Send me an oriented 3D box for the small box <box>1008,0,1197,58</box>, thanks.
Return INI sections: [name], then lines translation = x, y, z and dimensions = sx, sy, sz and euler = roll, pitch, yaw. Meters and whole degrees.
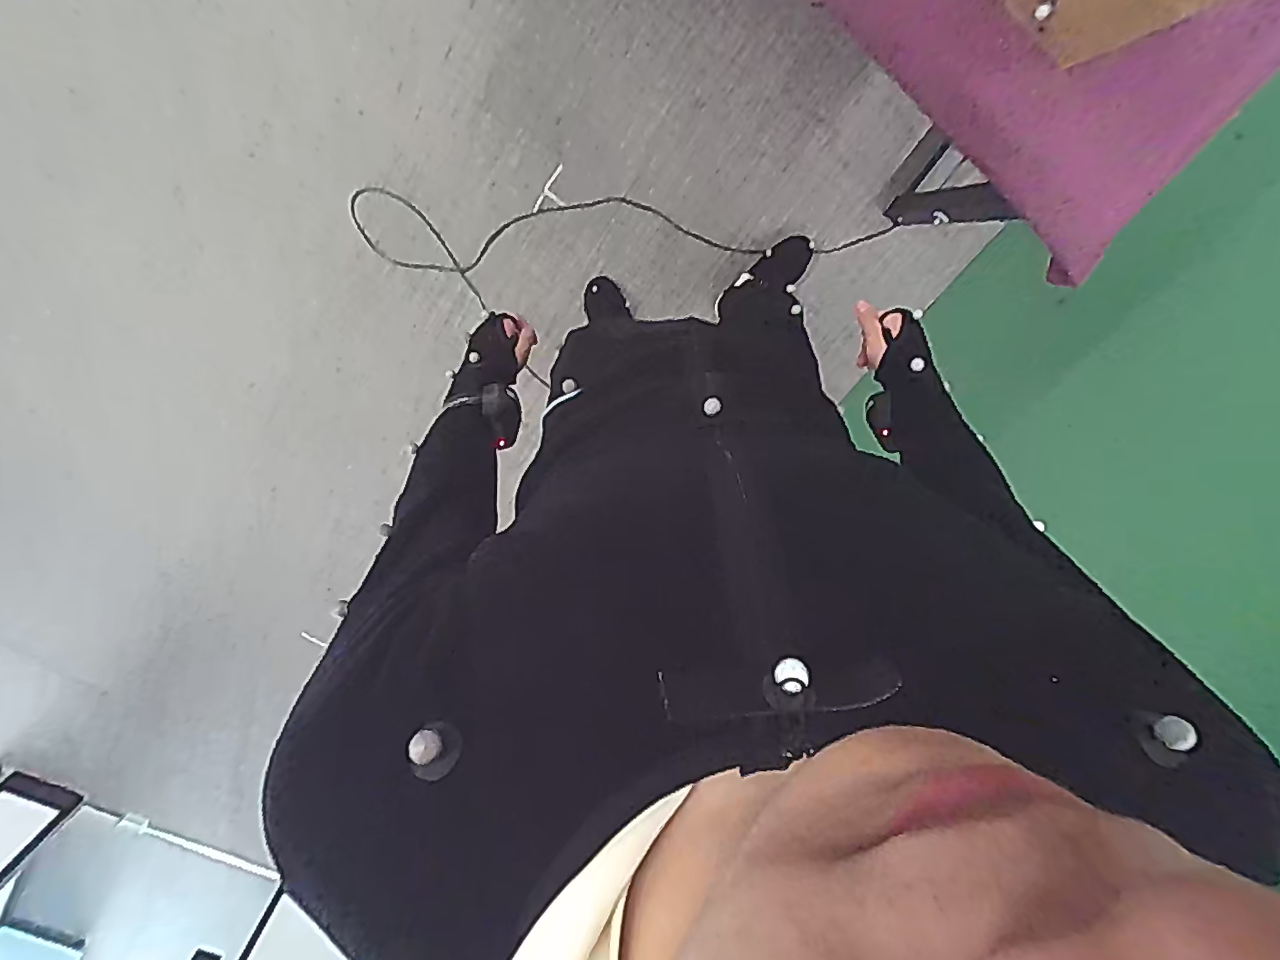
[small box]
translation = 0.508, -0.587, 0.546
dimensions = 0.168, 0.176, 0.179
euler = 34, 110, -13
